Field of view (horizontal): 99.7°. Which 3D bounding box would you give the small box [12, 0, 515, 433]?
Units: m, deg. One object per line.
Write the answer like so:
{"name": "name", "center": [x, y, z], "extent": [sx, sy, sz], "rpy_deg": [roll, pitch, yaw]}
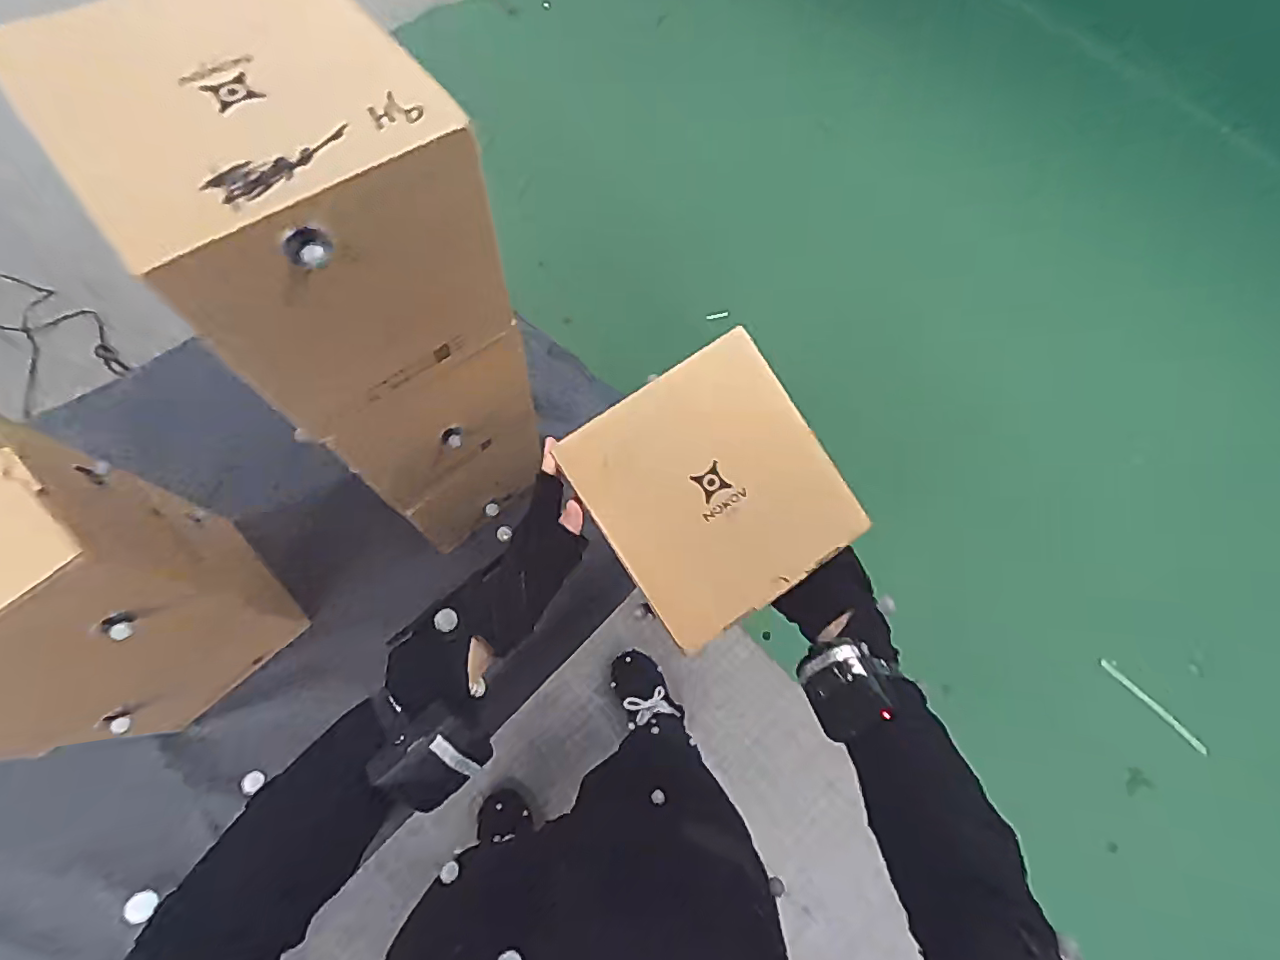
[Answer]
{"name": "small box", "center": [-0.203, -0.163, 0.346], "extent": [0.168, 0.176, 0.179], "rpy_deg": [-37, 76, -17]}

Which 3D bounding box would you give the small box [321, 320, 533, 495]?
{"name": "small box", "center": [-0.217, -0.105, 0.499], "extent": [0.168, 0.176, 0.179], "rpy_deg": [-40, 77, -18]}

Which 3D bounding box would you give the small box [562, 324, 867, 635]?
{"name": "small box", "center": [0.047, 0.003, 0.470], "extent": [0.168, 0.176, 0.179], "rpy_deg": [-34, 91, -7]}

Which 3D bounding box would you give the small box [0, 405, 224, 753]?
{"name": "small box", "center": [-0.463, 0.078, 0.402], "extent": [0.168, 0.176, 0.179], "rpy_deg": [42, 70, 12]}
